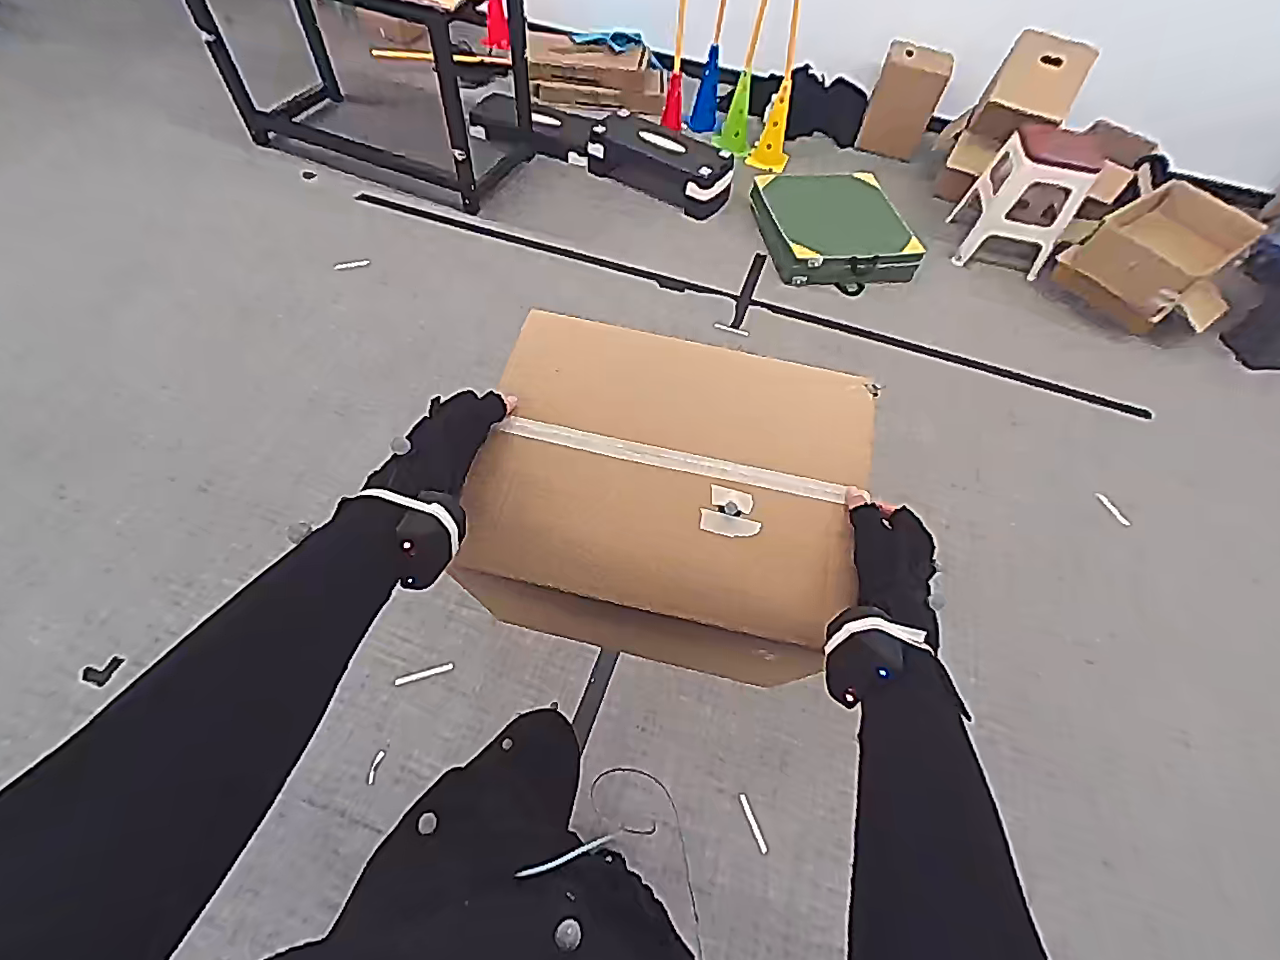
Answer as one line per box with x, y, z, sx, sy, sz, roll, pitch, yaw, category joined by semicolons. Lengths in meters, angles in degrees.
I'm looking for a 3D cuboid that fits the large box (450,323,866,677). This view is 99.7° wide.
0.030;0.046;0.710;0.408;0.320;0.320;13;66;3;large box
